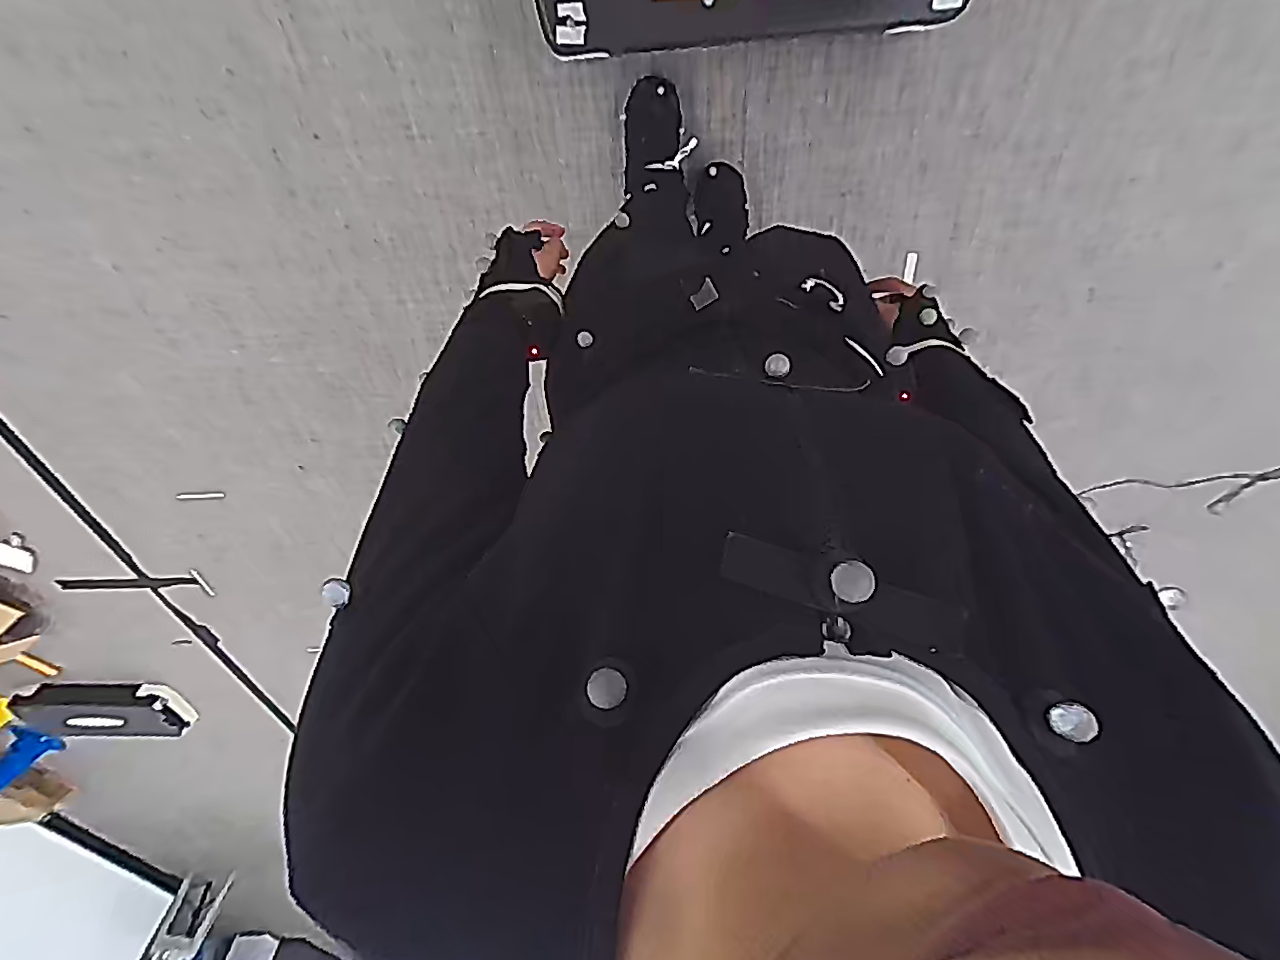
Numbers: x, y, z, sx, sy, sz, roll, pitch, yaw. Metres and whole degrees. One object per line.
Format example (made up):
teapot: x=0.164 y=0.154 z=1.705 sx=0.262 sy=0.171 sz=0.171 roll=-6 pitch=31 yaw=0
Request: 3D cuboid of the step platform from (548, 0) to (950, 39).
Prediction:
step platform: x=0.178 y=-0.861 z=0.795 sx=0.684 sy=0.204 sz=0.286 roll=-2 pitch=128 yaw=4
